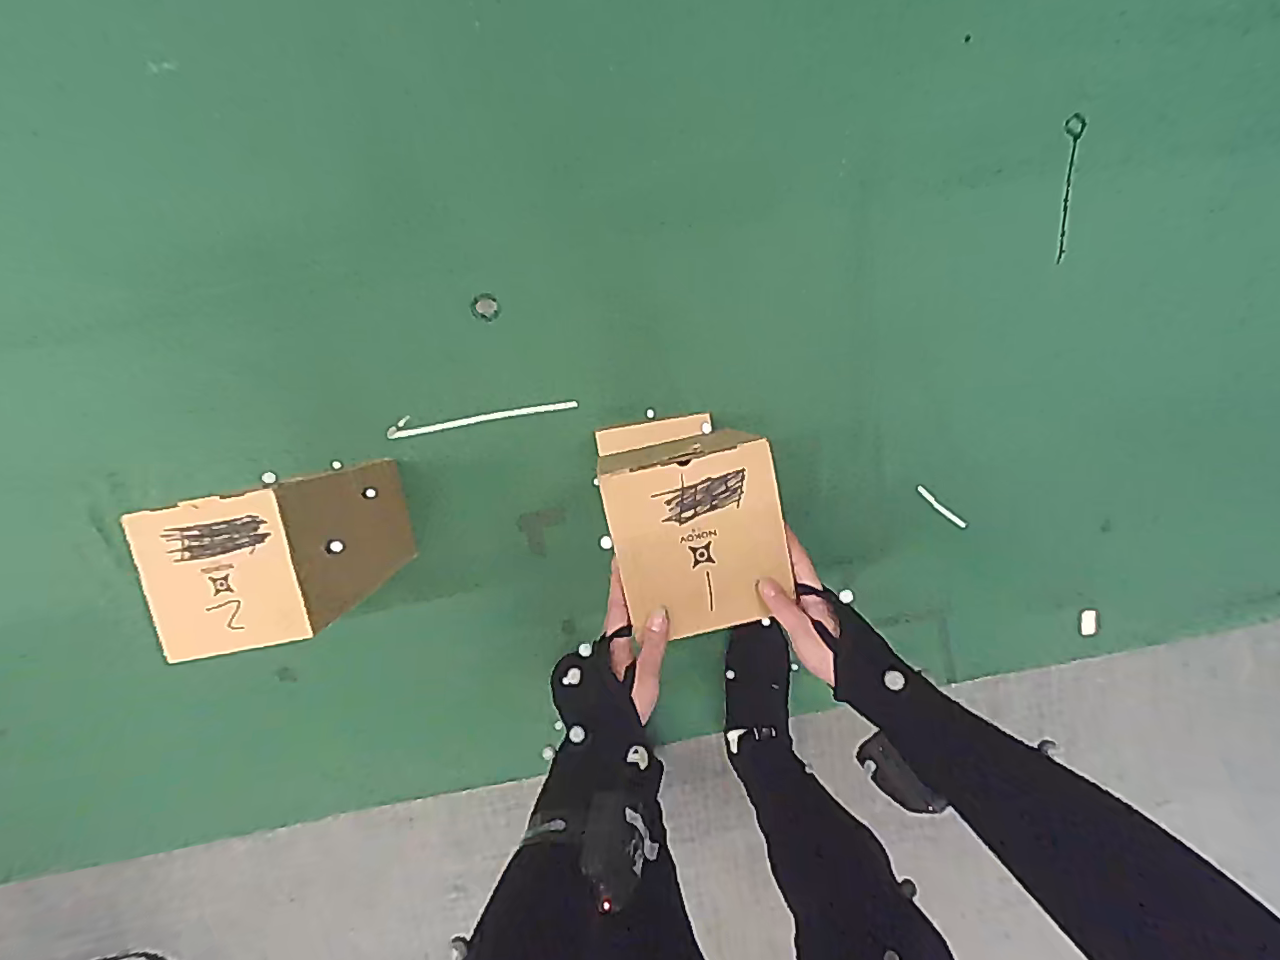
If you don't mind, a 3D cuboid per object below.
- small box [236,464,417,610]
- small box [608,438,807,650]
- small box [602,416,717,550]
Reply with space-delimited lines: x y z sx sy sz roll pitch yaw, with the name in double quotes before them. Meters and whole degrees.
"small box" -0.464 0.078 0.832 0.168 0.176 0.179 -10 96 -2
"small box" 0.060 0.053 0.588 0.168 0.176 0.179 -12 99 -2
"small box" 0.032 -0.002 0.851 0.168 0.176 0.179 -9 97 -3
